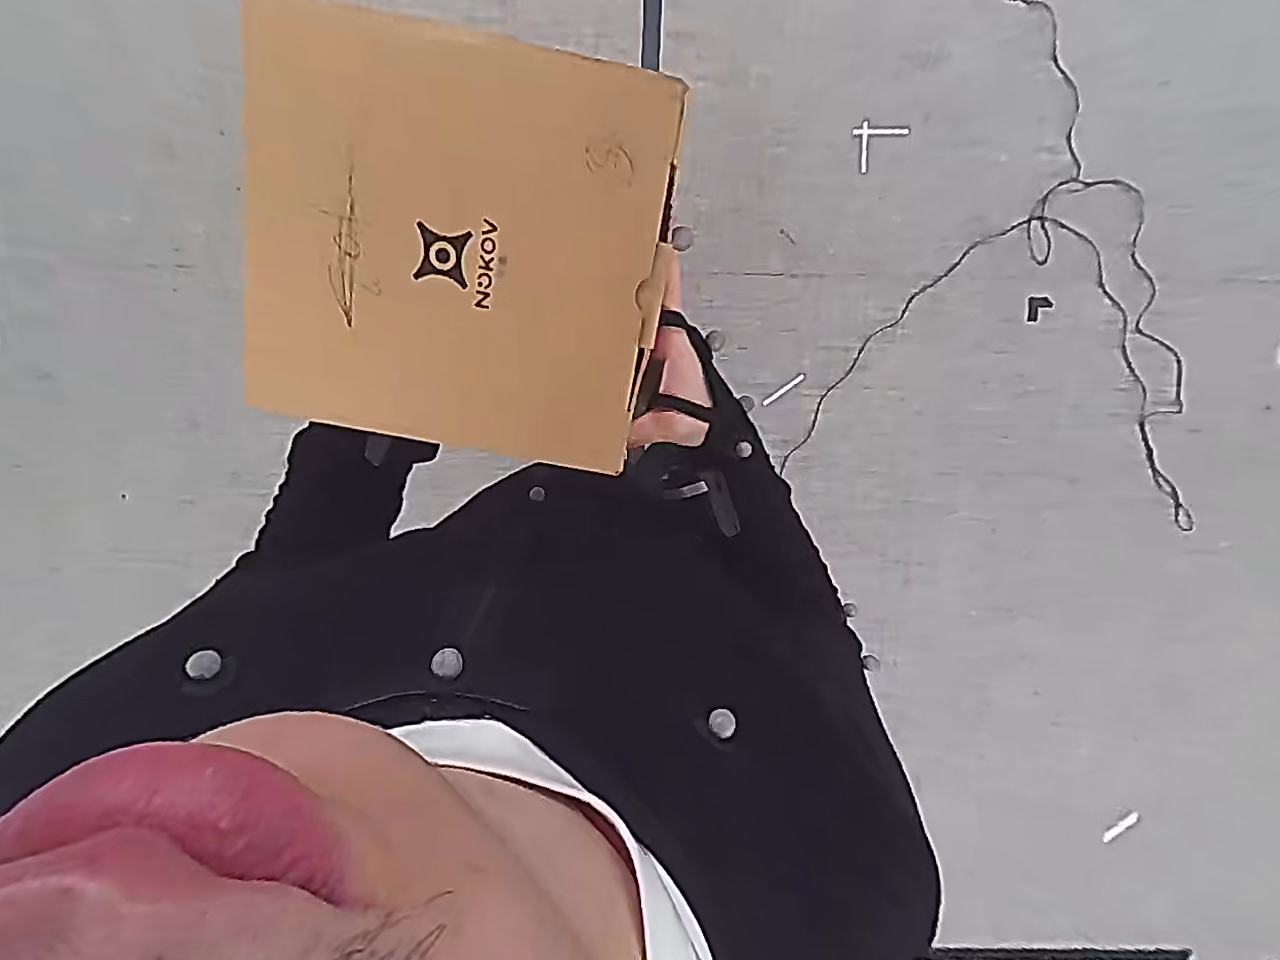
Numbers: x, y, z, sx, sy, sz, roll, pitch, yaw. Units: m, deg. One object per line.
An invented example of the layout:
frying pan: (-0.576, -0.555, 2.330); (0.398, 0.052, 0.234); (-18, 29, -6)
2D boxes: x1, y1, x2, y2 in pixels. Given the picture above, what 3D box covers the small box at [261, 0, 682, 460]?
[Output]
small box: (-0.082, -0.124, 0.320); (0.179, 0.176, 0.168); (11, 106, -3)
